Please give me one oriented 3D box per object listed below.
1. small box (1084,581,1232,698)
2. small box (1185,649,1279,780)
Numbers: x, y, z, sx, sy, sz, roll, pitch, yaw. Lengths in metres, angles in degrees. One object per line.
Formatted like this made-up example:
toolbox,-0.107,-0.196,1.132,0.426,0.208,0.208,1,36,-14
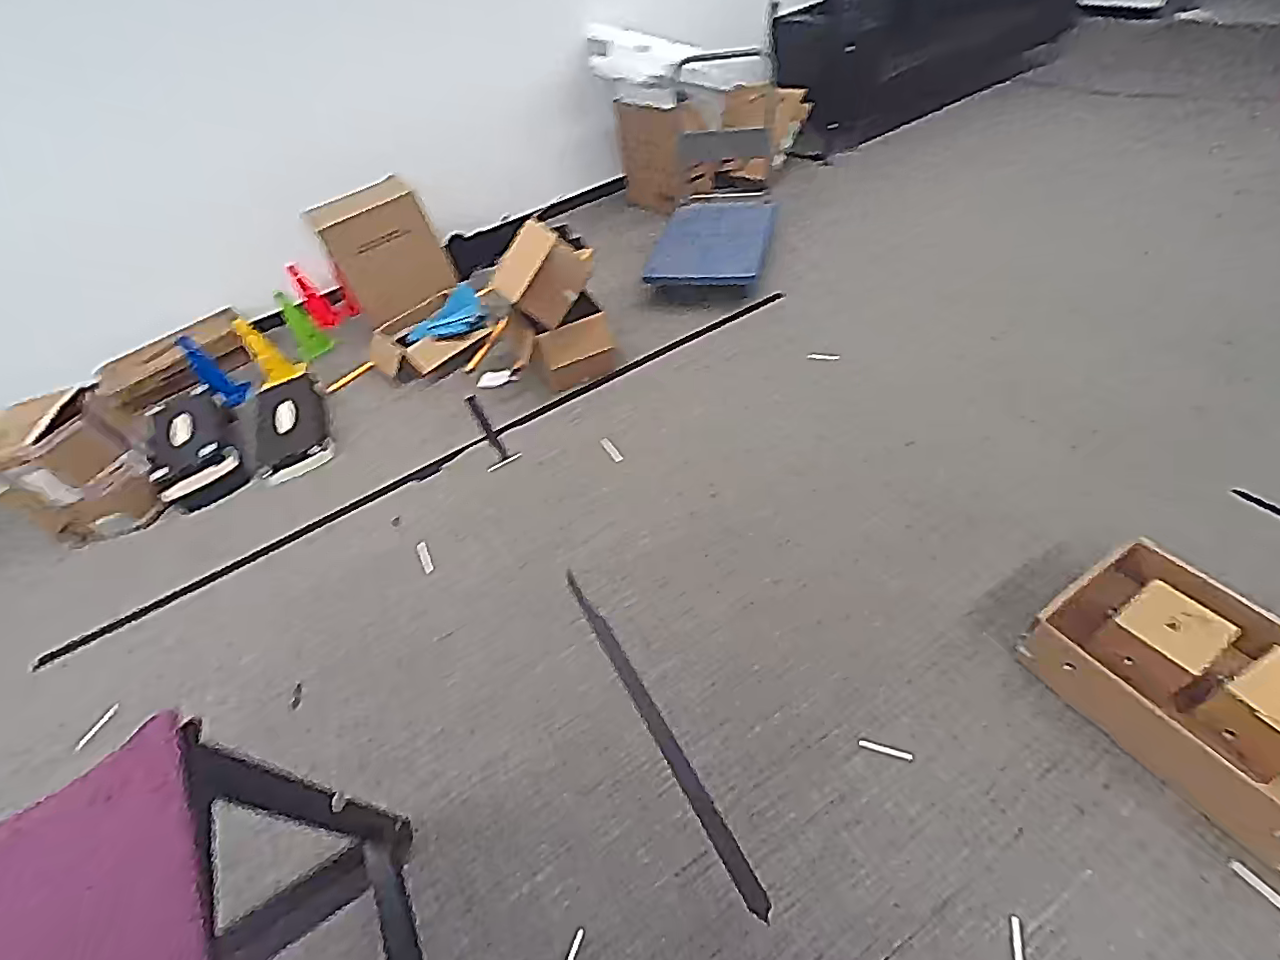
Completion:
small box,1.199,0.378,1.270,0.179,0.176,0.168,-31,52,-16
small box,1.328,0.496,1.140,0.179,0.176,0.168,-26,48,-11
